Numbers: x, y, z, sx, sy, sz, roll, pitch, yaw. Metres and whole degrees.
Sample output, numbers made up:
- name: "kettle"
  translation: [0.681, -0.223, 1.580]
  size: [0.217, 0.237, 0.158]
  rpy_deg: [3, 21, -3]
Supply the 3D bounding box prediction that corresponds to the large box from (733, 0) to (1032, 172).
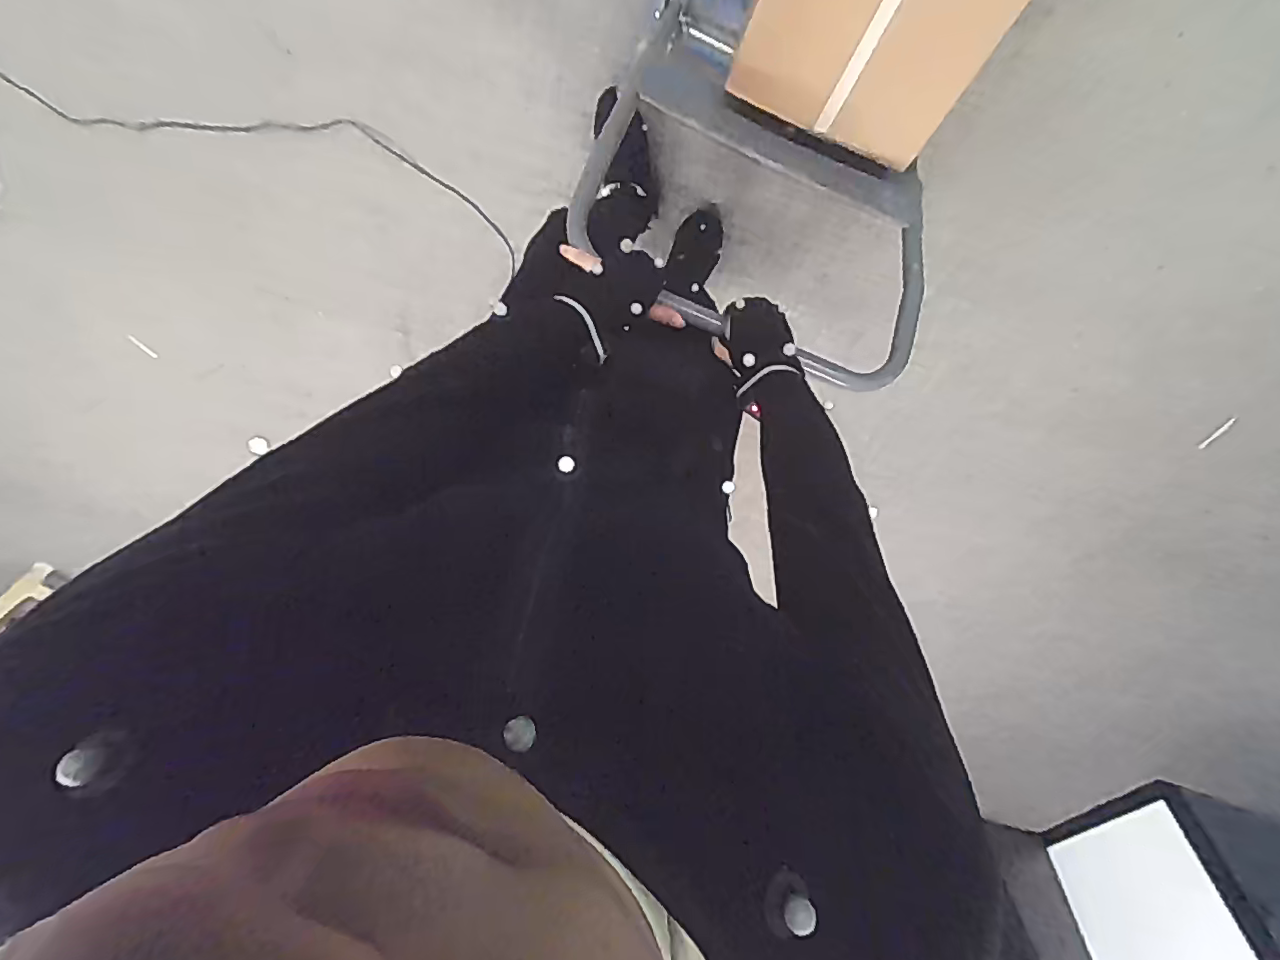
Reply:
- name: "large box"
  translation: [0.365, -0.745, 0.750]
  size: [0.320, 0.320, 0.408]
  rpy_deg: [20, 145, -7]
